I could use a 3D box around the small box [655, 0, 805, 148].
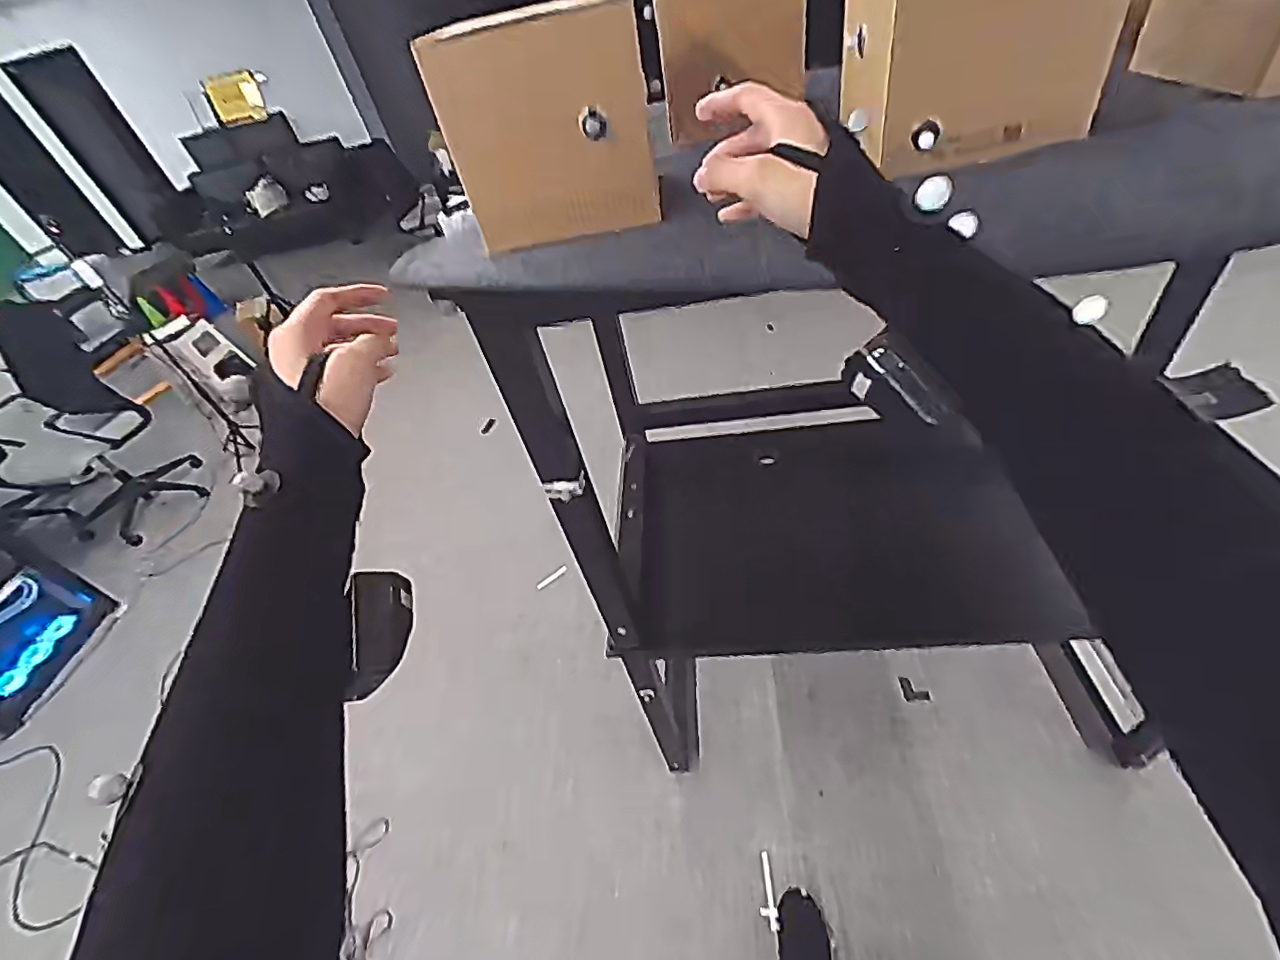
[{"bbox_3d":[0.109,-0.548,0.689,0.168,0.176,0.179,-7,45,8],"label":"small box"}]

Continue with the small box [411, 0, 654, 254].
[{"bbox_3d":[-0.081,-0.341,0.522,0.179,0.176,0.168,-7,43,7],"label":"small box"}]

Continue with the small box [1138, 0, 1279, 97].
[{"bbox_3d":[0.581,-0.441,0.449,0.168,0.176,0.179,-6,43,9],"label":"small box"}]
